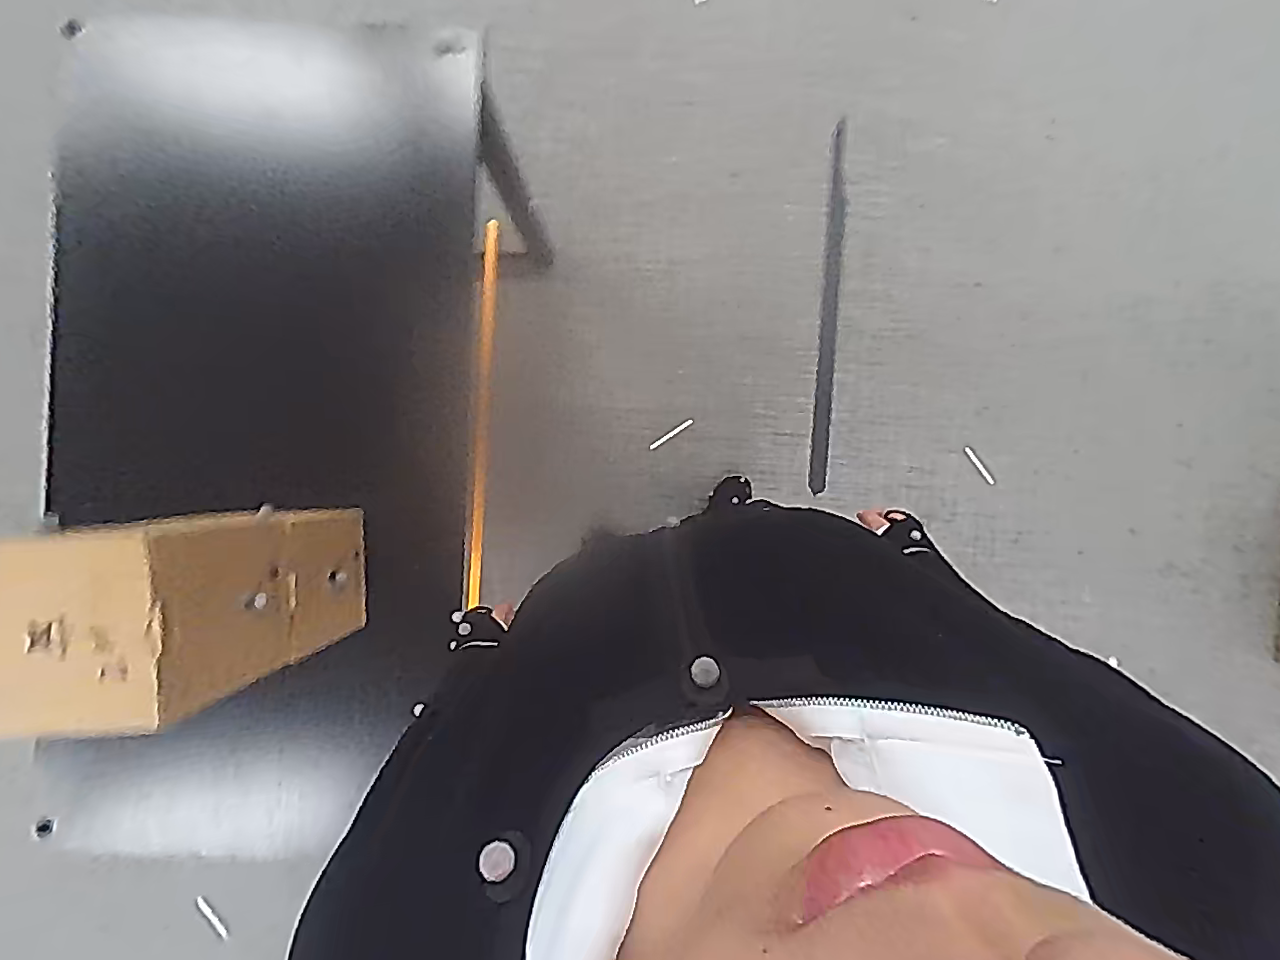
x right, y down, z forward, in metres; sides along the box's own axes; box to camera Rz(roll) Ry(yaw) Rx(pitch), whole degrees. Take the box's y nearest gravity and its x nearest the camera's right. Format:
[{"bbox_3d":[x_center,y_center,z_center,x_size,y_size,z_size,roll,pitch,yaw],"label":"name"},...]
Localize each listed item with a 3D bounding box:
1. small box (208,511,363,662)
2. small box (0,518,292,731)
[{"bbox_3d":[-0.481,0.129,0.701,0.179,0.176,0.168,-2,90,0],"label":"small box"},{"bbox_3d":[-0.487,0.128,0.535,0.179,0.176,0.168,-4,90,1],"label":"small box"}]
